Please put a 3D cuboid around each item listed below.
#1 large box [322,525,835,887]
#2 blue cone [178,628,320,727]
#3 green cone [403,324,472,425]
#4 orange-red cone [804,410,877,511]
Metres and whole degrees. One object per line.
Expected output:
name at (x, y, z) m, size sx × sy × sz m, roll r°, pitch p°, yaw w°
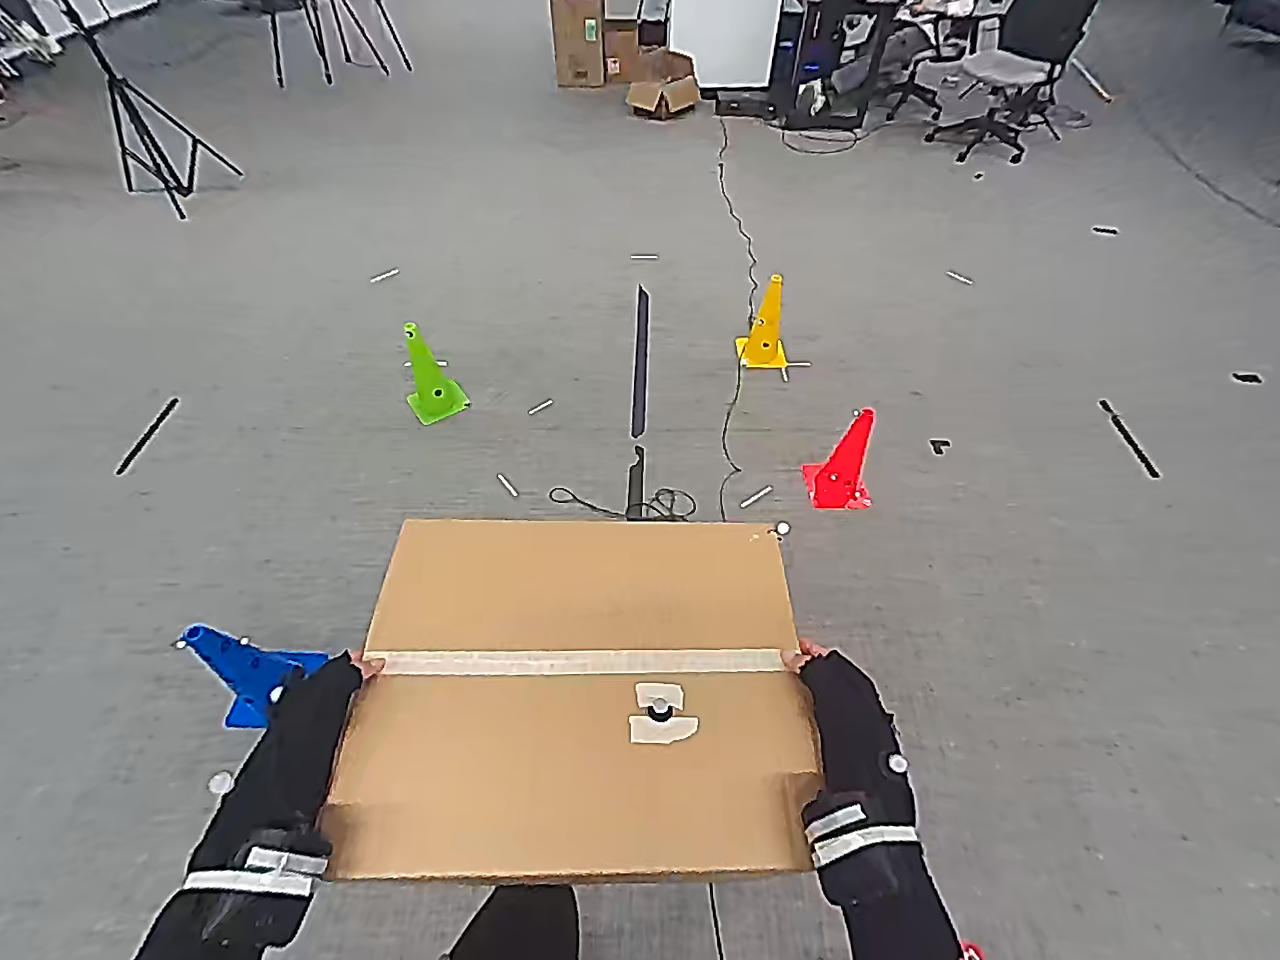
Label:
large box at (-0.055, 0.264, 0.622) m, size 0.408 × 0.320 × 0.320 m, roll 1°, pitch 52°, yaw -3°
blue cone at (-0.968, 0.455, 1.313) m, size 0.192 × 0.380 × 0.193 m, roll 3°, pitch 50°, yaw 3°
green cone at (-0.795, -0.420, 2.010) m, size 0.202 × 0.368 × 0.200 m, roll -31°, pitch 56°, yaw -21°
orange-red cone at (0.682, -0.085, 1.744) m, size 0.198 × 0.360 × 0.199 m, roll 0°, pitch 49°, yaw -2°
